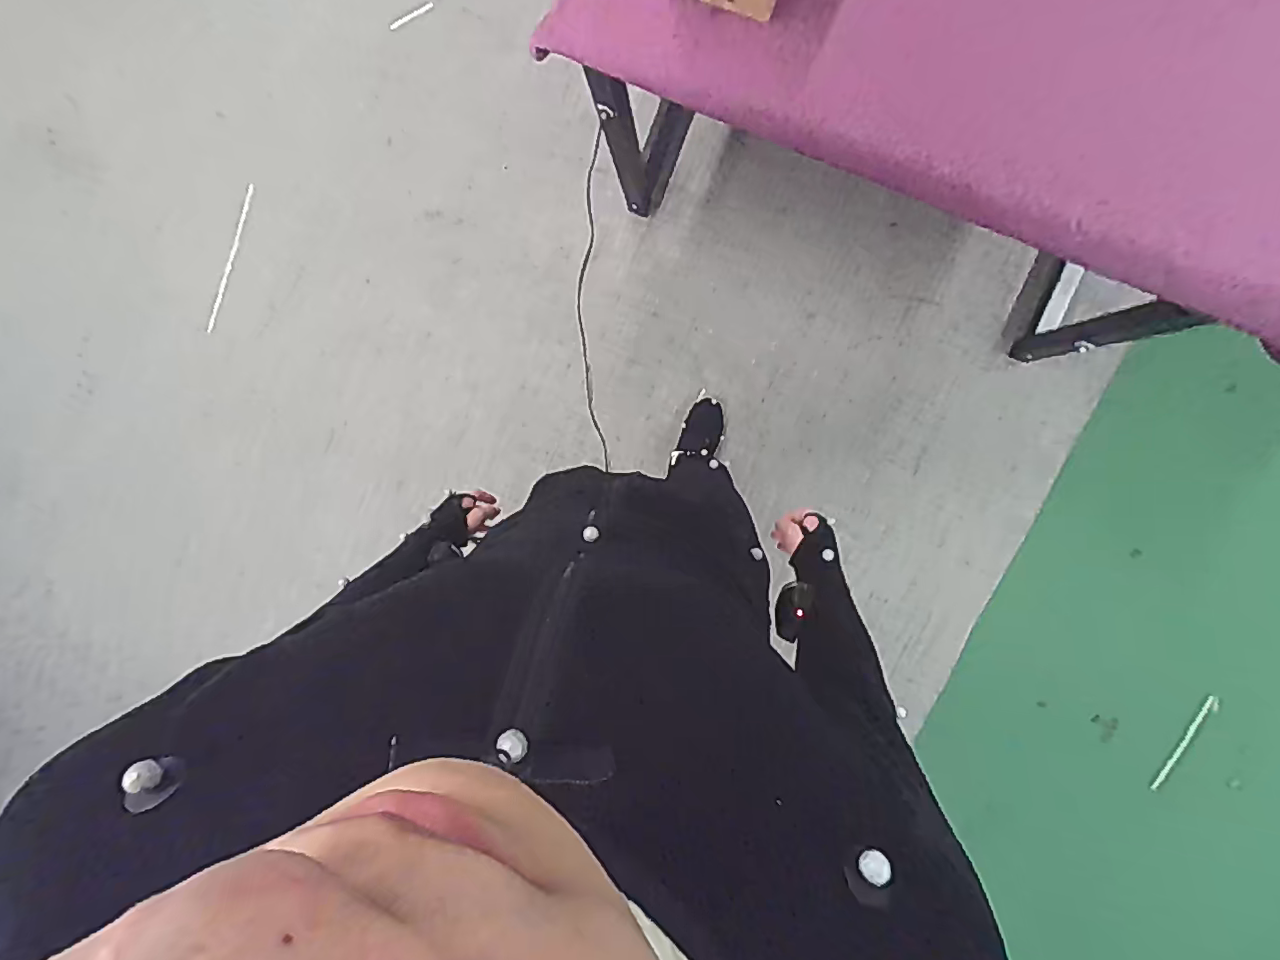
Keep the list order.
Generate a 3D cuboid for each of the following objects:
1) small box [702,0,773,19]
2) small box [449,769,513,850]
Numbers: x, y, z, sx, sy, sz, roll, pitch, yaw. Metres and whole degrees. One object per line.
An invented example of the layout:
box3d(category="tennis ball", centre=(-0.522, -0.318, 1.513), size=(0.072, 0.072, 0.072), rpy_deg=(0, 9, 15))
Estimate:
box3d(category="small box", centre=(0.133, -0.778, 0.713), size=(0.168, 0.176, 0.179), rpy_deg=(22, 98, 4))
box3d(category="small box", centre=(-0.511, 1.033, 1.646), size=(0.168, 0.176, 0.179), rpy_deg=(29, 98, 3))
